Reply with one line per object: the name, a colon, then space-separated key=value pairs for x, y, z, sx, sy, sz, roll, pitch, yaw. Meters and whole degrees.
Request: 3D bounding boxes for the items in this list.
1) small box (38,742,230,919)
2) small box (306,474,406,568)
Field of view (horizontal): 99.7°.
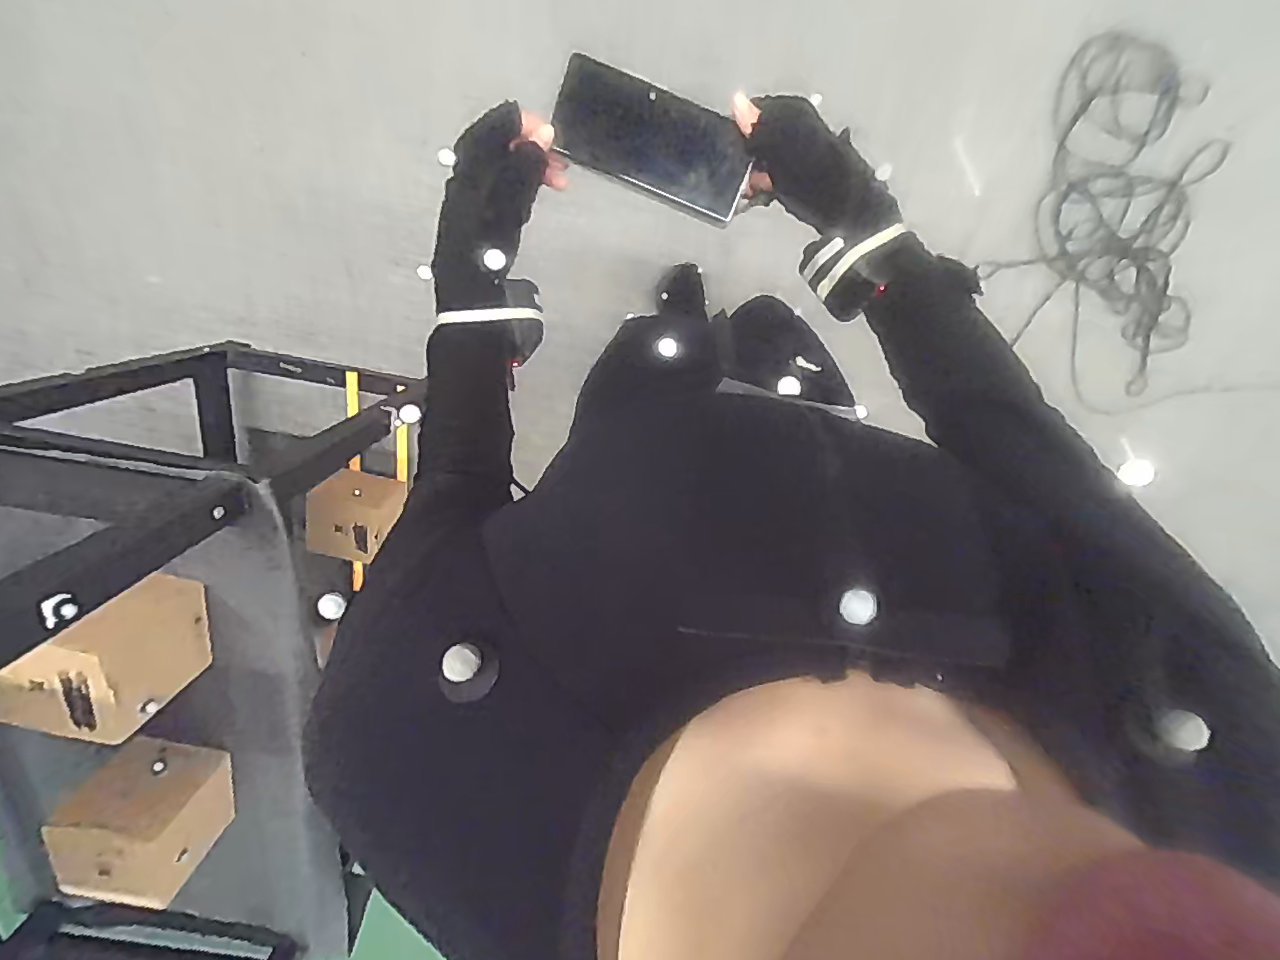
small box: x=-0.834 y=0.585 z=0.914 sx=0.168 sy=0.176 sz=0.179 roll=13 pitch=112 yaw=-4
small box: x=-0.720 y=0.098 z=1.386 sx=0.179 sy=0.176 sz=0.168 roll=13 pitch=112 yaw=-4
